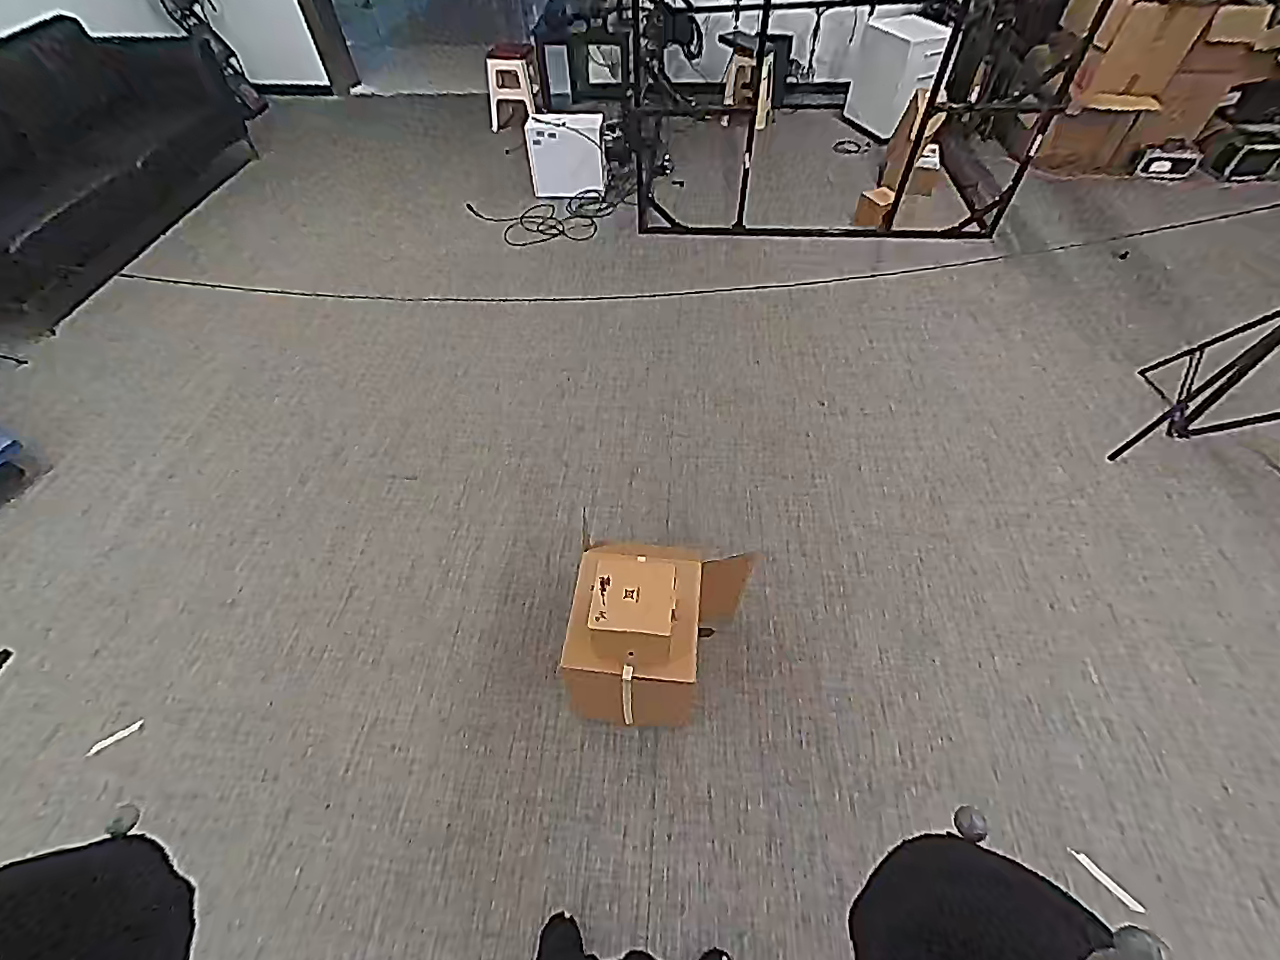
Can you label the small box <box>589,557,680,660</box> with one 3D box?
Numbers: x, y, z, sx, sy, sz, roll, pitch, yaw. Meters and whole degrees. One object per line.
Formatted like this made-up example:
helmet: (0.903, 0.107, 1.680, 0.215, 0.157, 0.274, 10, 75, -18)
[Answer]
small box: (-0.007, 0.291, 1.205, 0.179, 0.176, 0.168, 5, 53, 5)
